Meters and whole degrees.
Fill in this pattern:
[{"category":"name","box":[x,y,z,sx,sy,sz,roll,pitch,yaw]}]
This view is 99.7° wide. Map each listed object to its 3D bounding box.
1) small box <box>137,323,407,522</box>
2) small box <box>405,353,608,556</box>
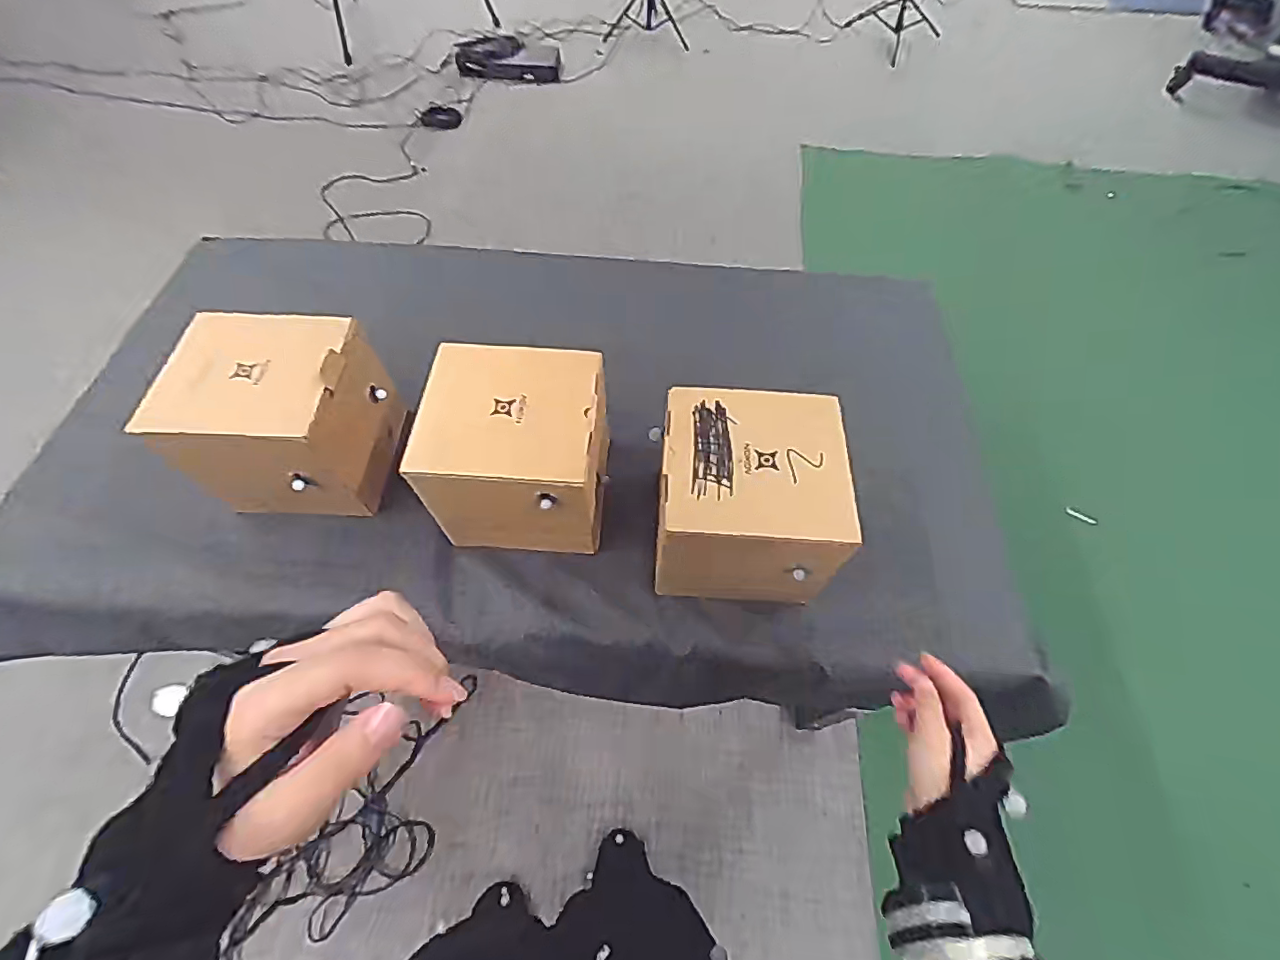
[{"category":"small box","box":[-0.399,-0.060,0.631,0.179,0.176,0.168,1,58,0]},{"category":"small box","box":[-0.132,-0.023,0.613,0.179,0.176,0.168,3,59,0]}]
